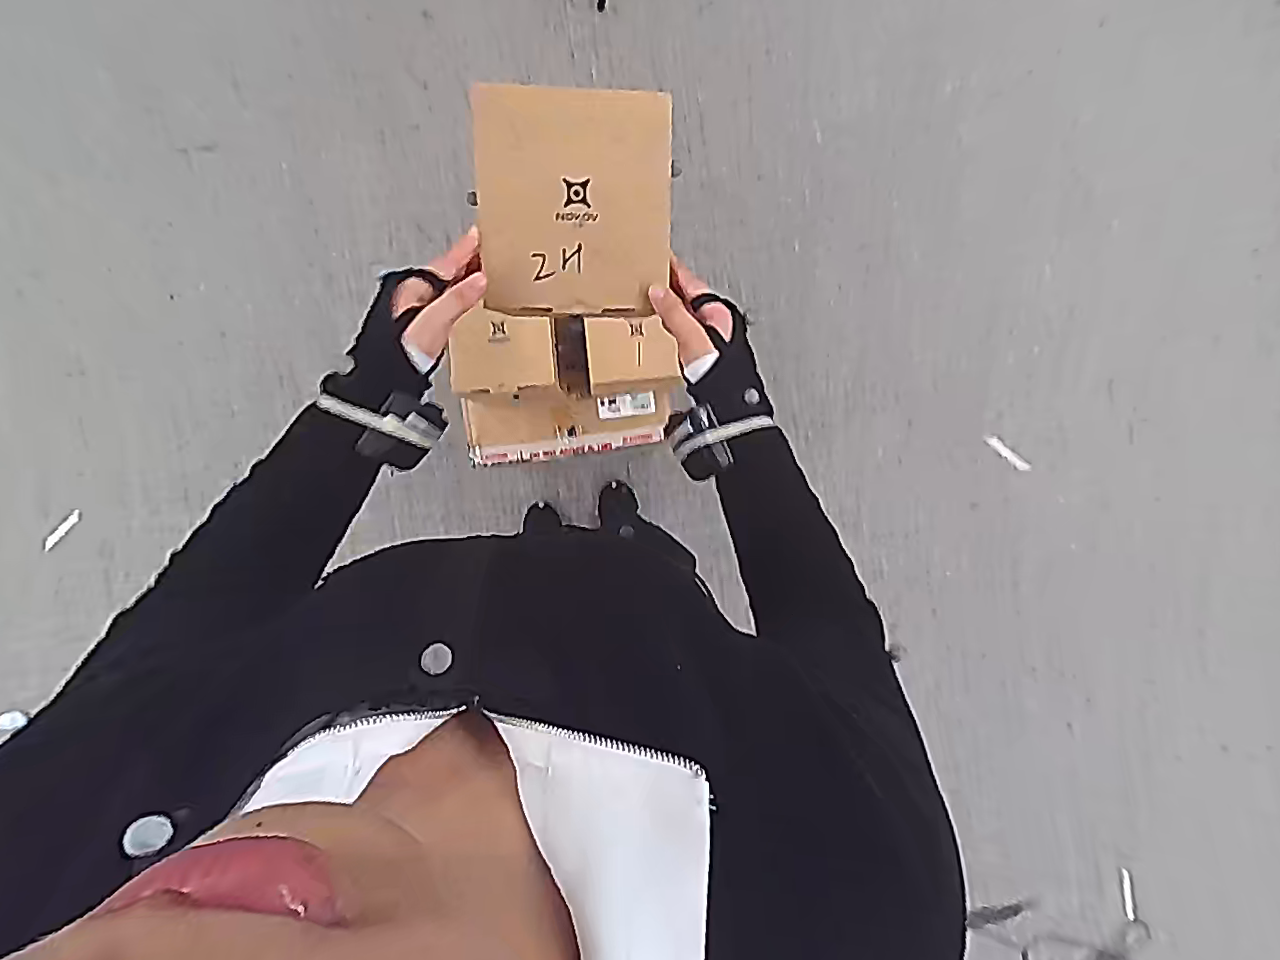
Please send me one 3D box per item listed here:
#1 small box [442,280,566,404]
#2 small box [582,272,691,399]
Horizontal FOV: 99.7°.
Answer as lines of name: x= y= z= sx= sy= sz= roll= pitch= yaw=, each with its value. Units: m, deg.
small box: x=-0.222 y=-0.224 z=0.923 sx=0.168 sy=0.176 sz=0.179 roll=-4 pitch=93 yaw=0
small box: x=-0.013 y=-0.241 z=0.934 sx=0.168 sy=0.176 sz=0.179 roll=-5 pitch=93 yaw=-4
